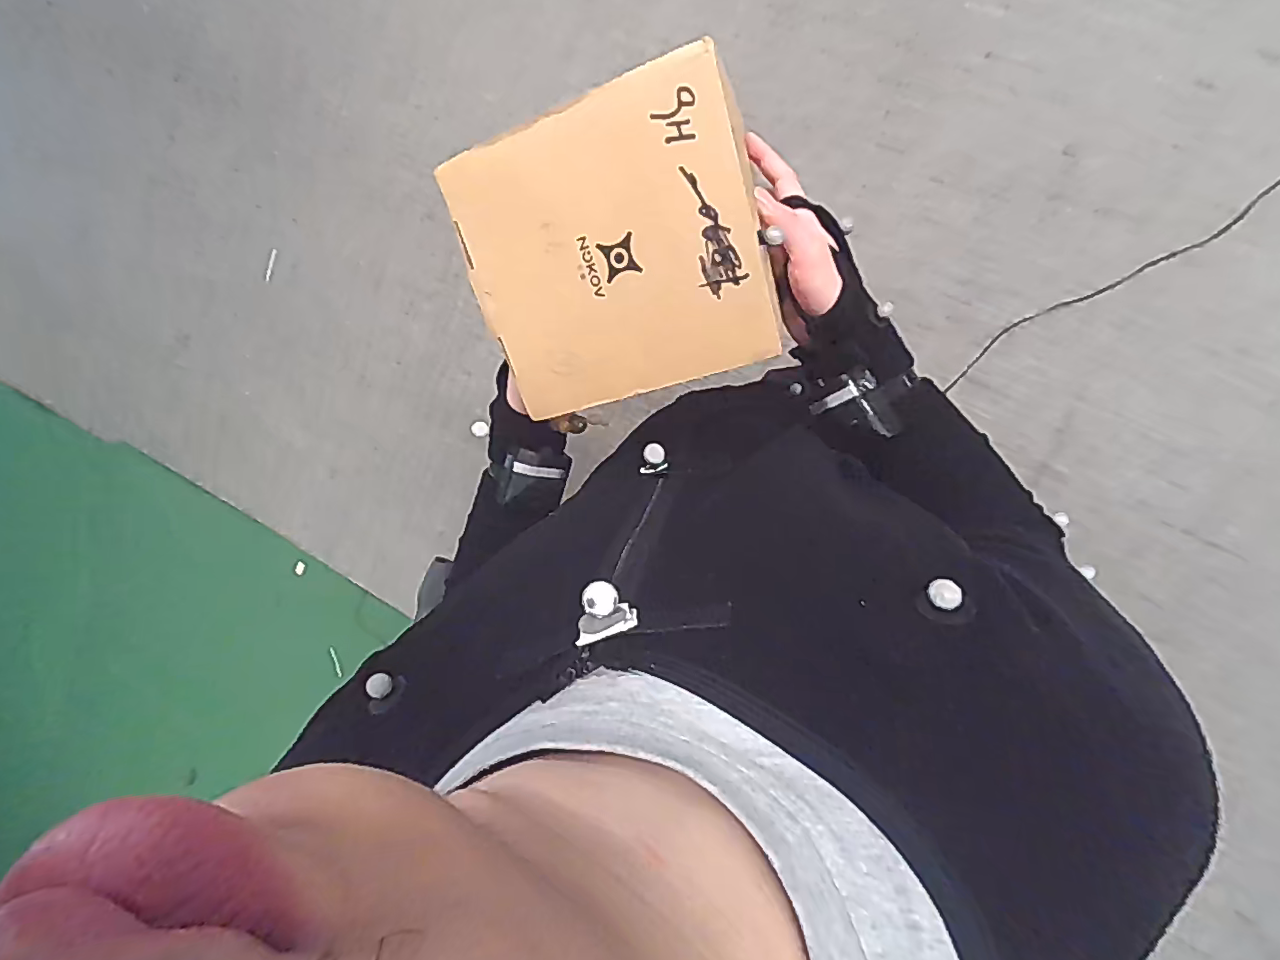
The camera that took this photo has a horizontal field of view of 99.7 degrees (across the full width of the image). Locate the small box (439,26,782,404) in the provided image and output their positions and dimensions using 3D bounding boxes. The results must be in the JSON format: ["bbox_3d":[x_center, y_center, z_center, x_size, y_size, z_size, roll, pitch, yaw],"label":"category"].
[{"bbox_3d":[-0.001,-0.170,0.393,0.179,0.176,0.168,-11,111,20],"label":"small box"}]
